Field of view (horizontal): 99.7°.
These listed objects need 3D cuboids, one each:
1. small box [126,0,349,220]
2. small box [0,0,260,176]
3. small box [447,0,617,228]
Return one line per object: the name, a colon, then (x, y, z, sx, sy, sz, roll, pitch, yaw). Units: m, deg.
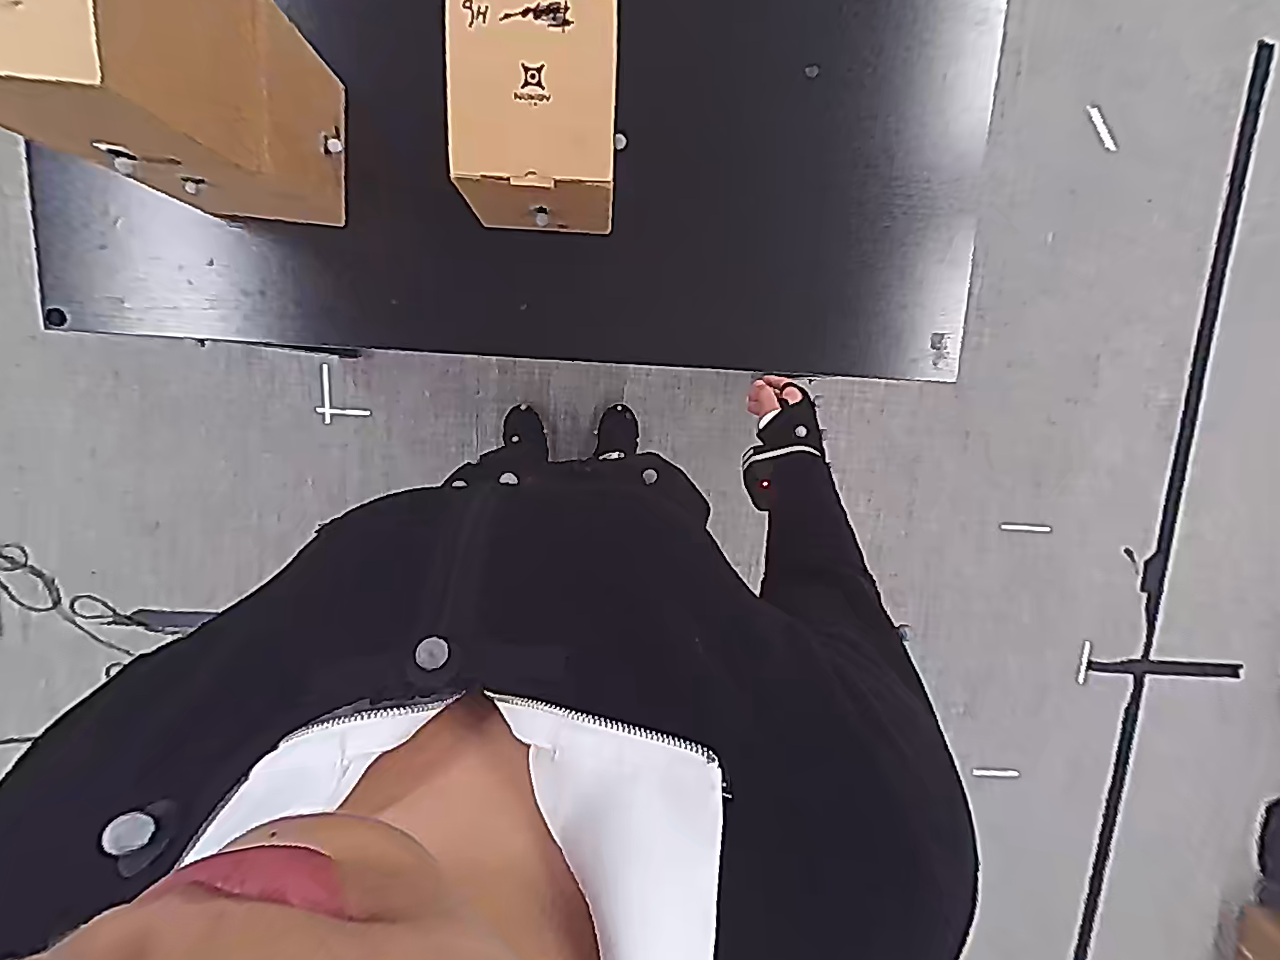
small box: (-0.448, -0.401, 0.591, 0.179, 0.176, 0.168, 4, 98, -5)
small box: (-0.440, -0.375, 0.431, 0.168, 0.176, 0.179, 3, 99, -3)
small box: (-0.112, -0.402, 0.615, 0.168, 0.176, 0.179, 2, 99, -4)
